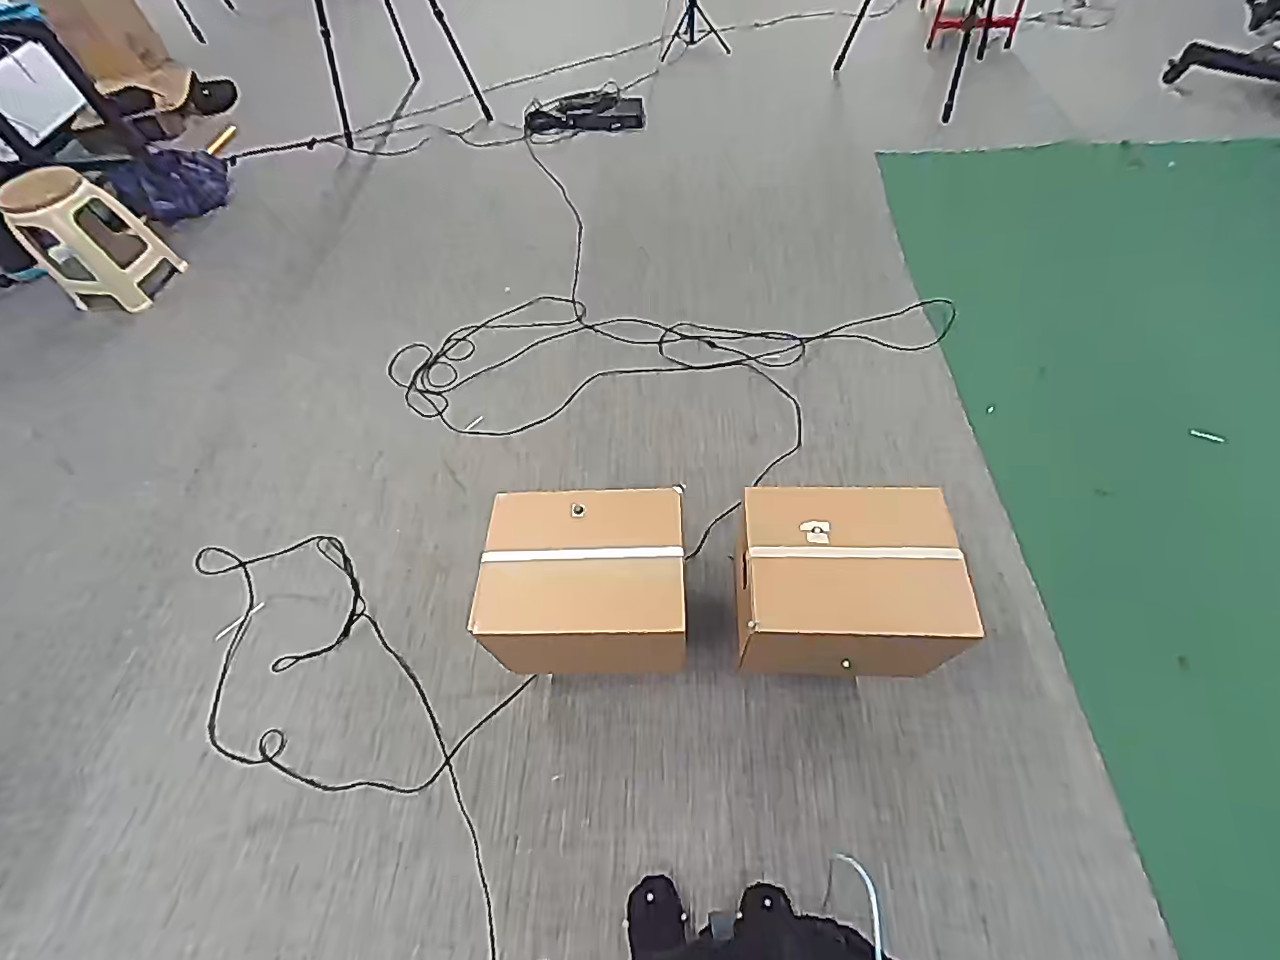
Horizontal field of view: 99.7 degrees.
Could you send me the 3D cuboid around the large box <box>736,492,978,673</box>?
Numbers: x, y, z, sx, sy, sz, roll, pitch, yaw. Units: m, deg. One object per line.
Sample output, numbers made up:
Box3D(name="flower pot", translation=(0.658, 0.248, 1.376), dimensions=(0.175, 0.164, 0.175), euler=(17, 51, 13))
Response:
Box3D(name="large box", translation=(0.430, 0.235, 1.190), dimensions=(0.408, 0.320, 0.320), euler=(0, 57, 5))
